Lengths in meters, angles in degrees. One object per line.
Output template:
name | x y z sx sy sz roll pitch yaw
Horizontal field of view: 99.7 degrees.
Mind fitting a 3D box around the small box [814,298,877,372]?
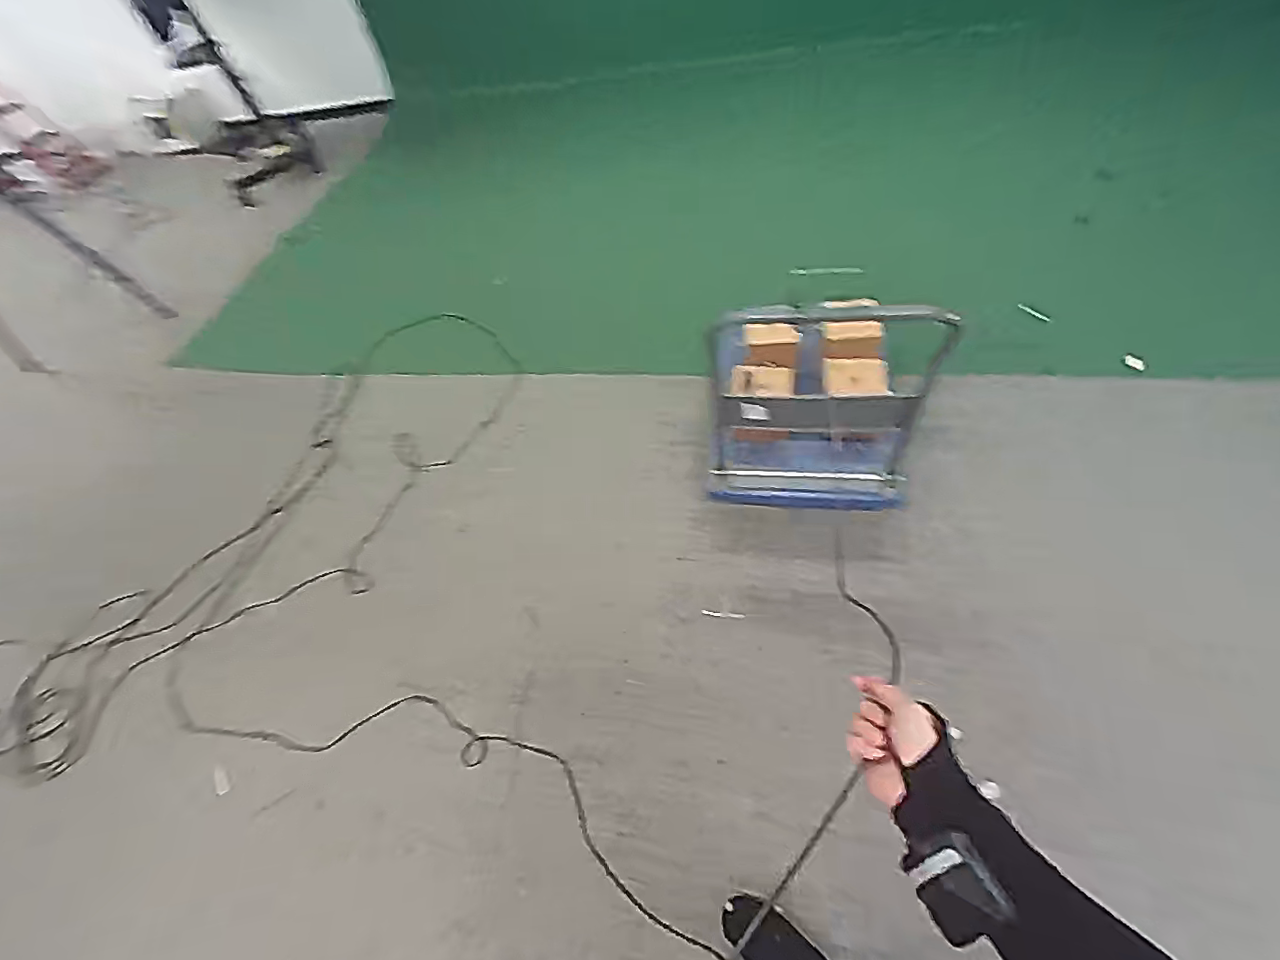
small box | 0.680 -0.478 1.805 0.168 0.176 0.179 -2 57 12

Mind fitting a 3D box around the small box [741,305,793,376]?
small box | 0.433 -0.470 1.854 0.168 0.176 0.179 -1 56 11

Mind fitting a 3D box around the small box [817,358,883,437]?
small box | 0.639 -0.253 1.661 0.168 0.176 0.179 2 58 14
